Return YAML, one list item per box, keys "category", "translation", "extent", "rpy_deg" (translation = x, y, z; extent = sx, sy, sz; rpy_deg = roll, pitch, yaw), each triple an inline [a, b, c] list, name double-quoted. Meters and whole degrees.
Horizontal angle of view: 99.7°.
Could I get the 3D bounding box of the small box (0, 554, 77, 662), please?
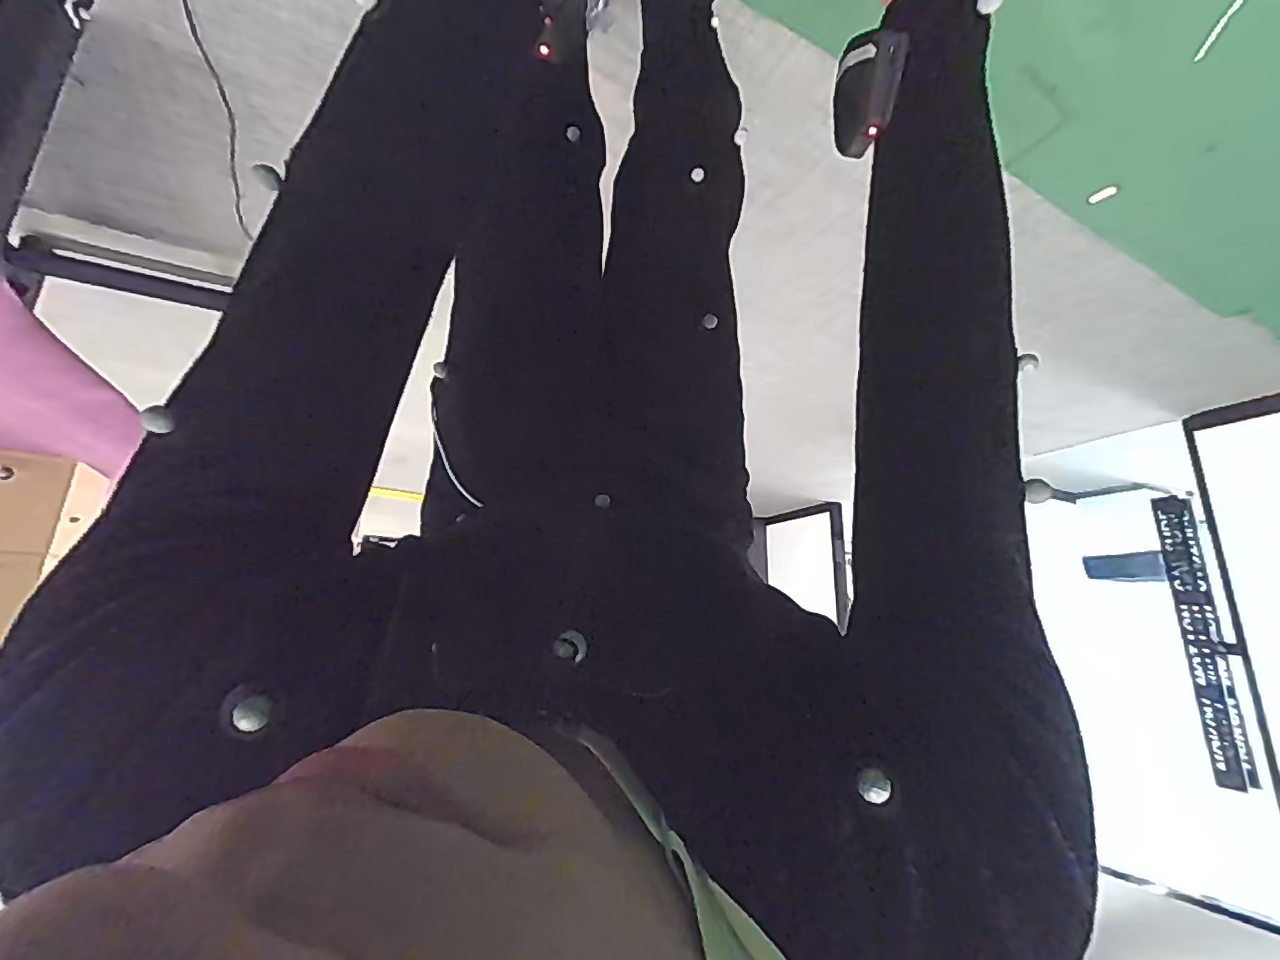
- category: "small box"
  translation: [-1.075, 0.205, 0.879]
  extent: [0.168, 0.176, 0.179]
  rpy_deg: [11, 162, -29]
